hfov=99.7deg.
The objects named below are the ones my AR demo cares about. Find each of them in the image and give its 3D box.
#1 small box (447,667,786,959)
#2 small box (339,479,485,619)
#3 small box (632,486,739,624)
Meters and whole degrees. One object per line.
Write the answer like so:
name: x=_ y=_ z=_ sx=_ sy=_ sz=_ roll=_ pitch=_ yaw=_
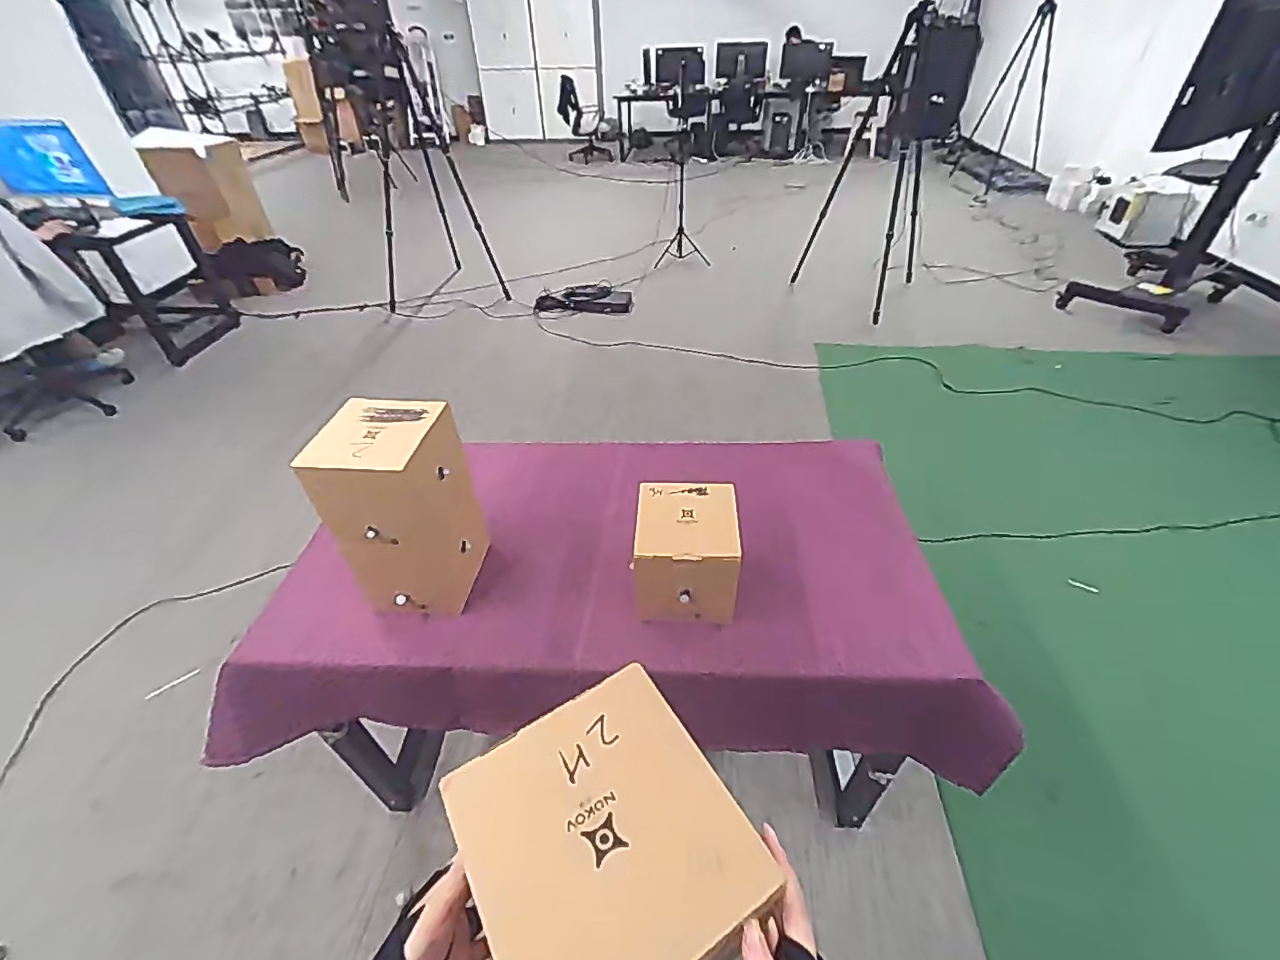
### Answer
small box: x=-0.019 y=0.286 z=0.404 sx=0.168 sy=0.176 sz=0.179 roll=-24 pitch=45 yaw=-22
small box: x=-0.388 y=0.120 z=0.960 sx=0.168 sy=0.176 sz=0.179 roll=2 pitch=41 yaw=5
small box: x=0.078 y=0.130 z=0.931 sx=0.168 sy=0.176 sz=0.179 roll=2 pitch=41 yaw=4
